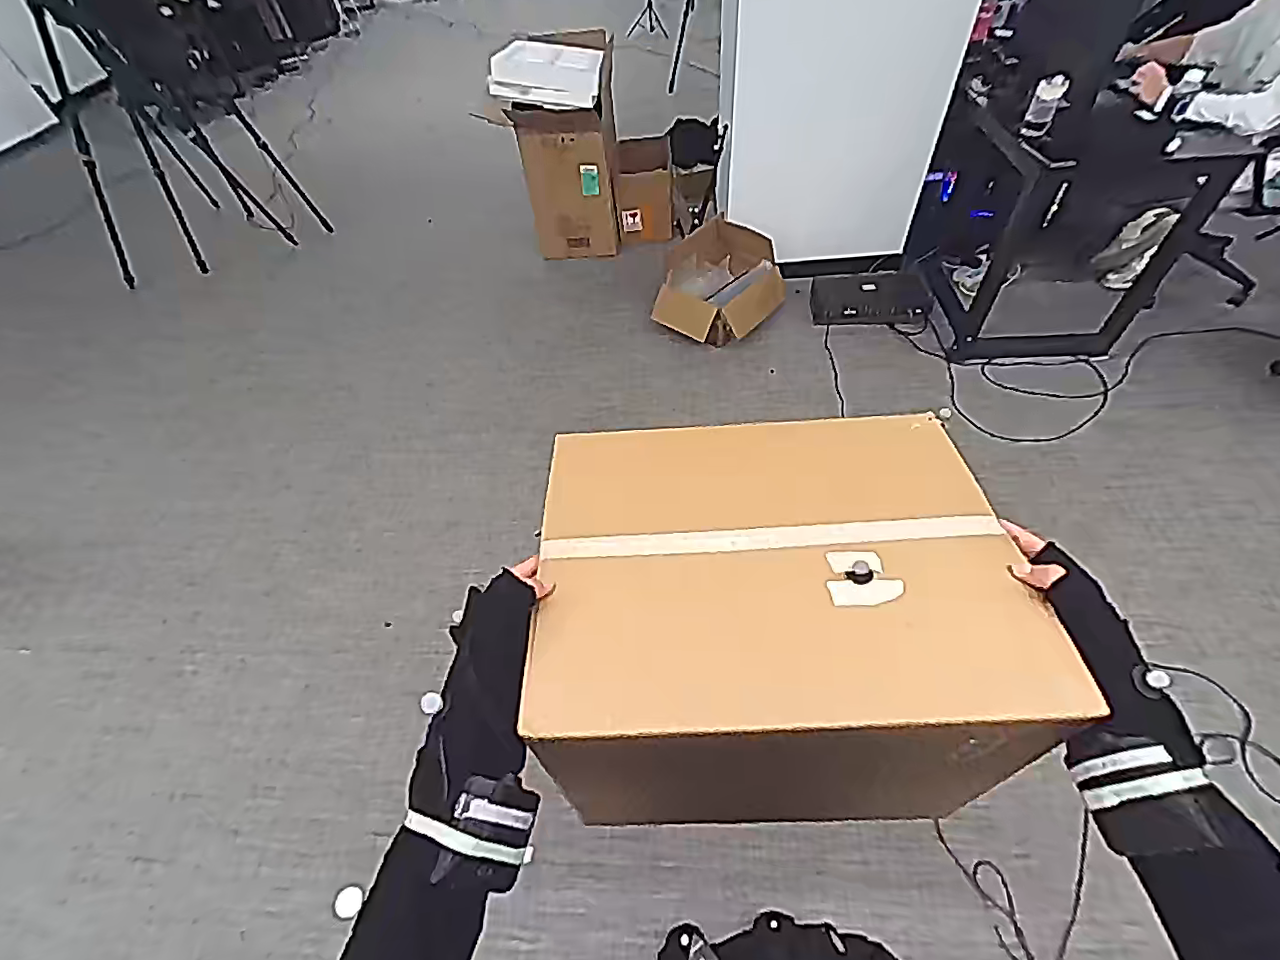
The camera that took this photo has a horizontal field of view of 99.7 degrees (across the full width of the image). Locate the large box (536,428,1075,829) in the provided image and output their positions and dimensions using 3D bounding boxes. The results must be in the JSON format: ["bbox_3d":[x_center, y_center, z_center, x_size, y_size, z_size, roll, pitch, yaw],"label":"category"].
[{"bbox_3d":[0.123,0.168,0.602,0.408,0.320,0.320,-4,47,2],"label":"large box"}]
